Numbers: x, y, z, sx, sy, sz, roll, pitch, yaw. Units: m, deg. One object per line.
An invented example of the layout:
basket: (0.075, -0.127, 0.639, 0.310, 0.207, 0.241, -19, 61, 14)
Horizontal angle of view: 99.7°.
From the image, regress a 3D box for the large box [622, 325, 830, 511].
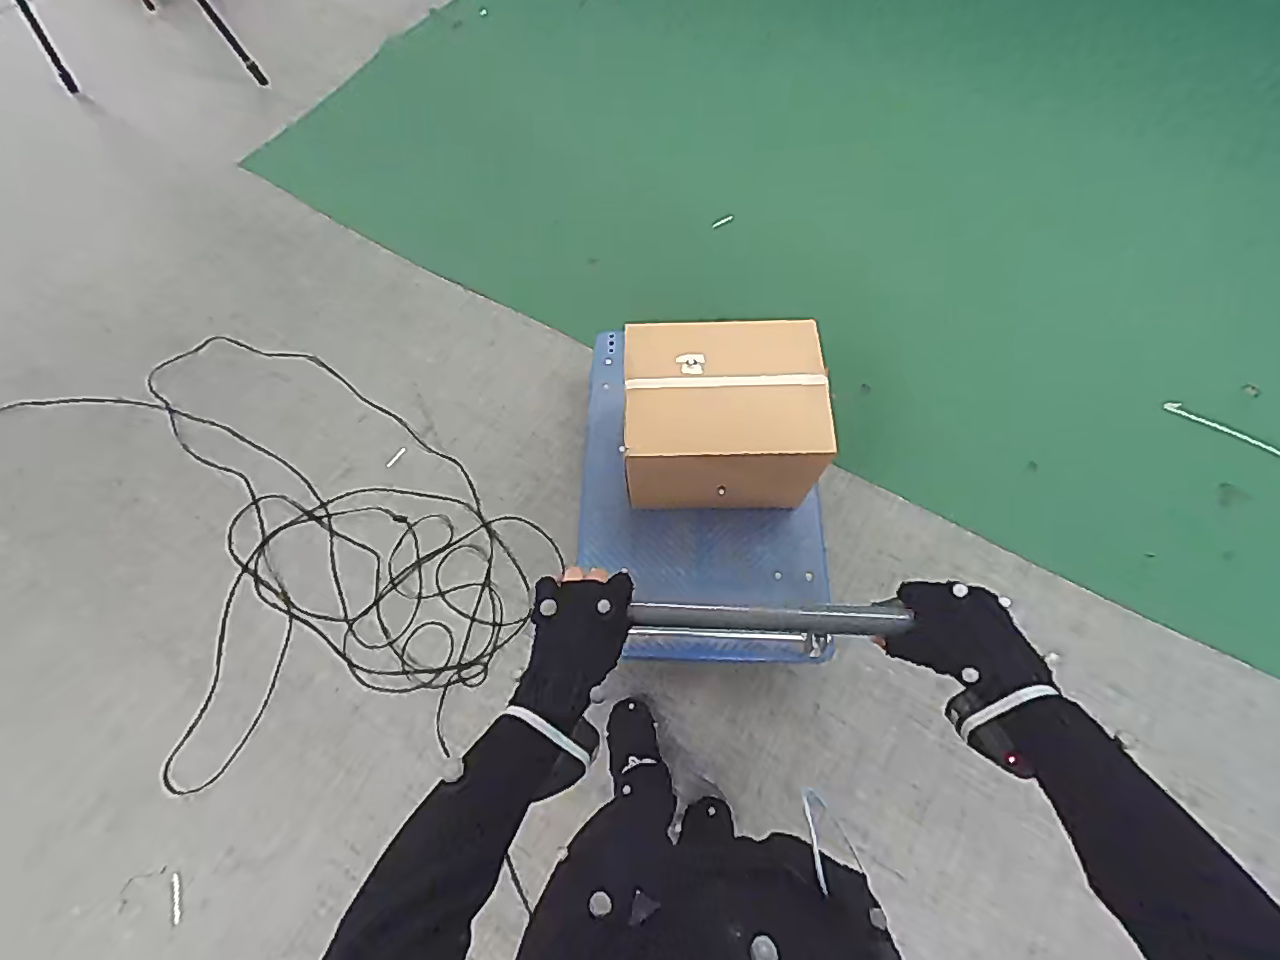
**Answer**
large box: (0.172, -0.125, 1.236, 0.408, 0.320, 0.320, -2, 67, 2)
